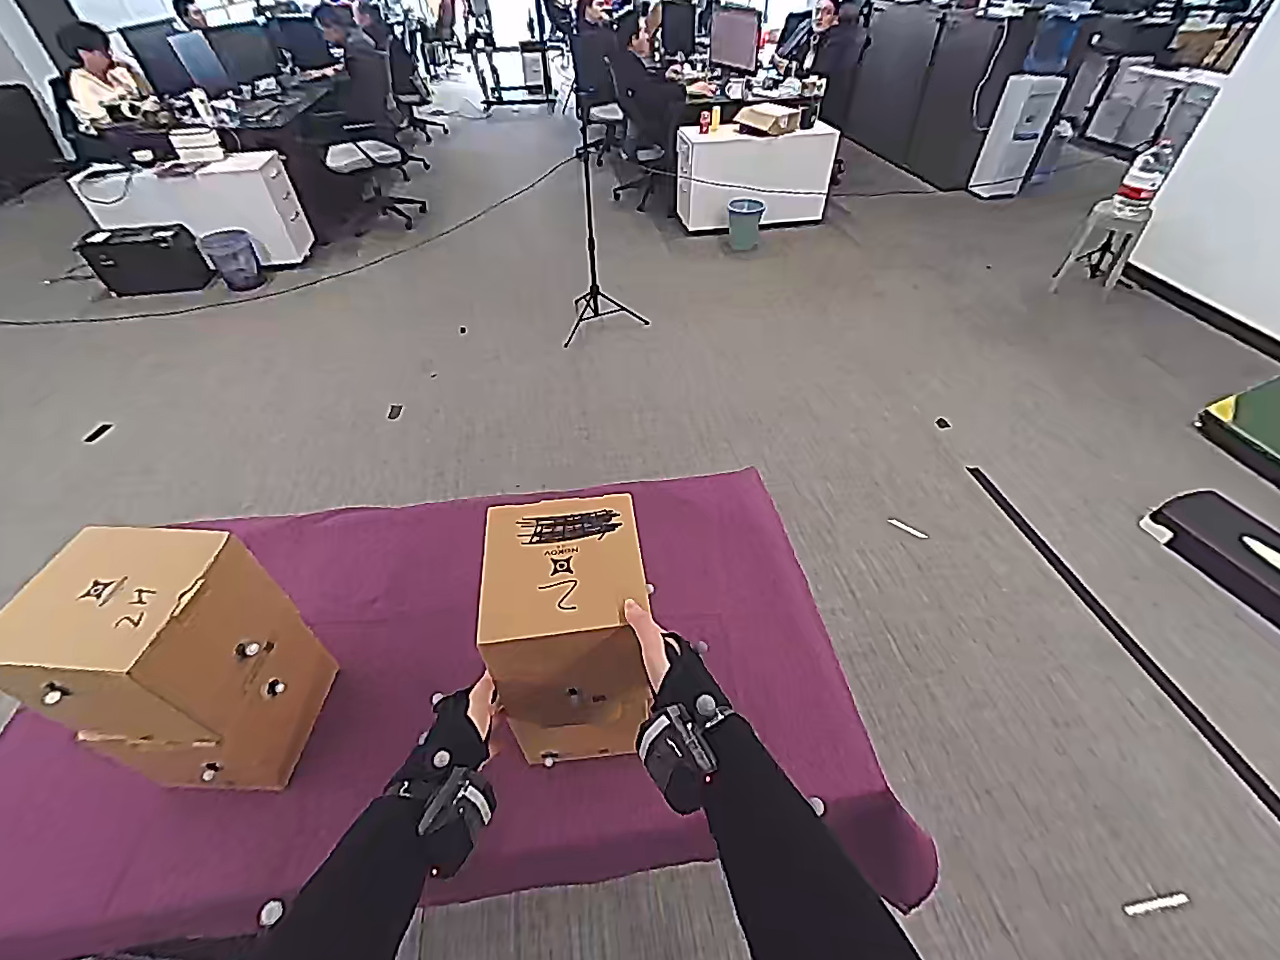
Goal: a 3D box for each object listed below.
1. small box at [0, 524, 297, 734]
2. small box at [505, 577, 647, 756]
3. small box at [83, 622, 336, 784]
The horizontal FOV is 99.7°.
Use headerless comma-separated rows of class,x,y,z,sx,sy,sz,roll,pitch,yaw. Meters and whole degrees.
small box,-0.538,0.168,0.606,0.179,0.176,0.168,3,46,2
small box,-0.079,0.258,0.738,0.168,0.176,0.179,-4,44,-3
small box,-0.543,0.286,0.720,0.168,0.176,0.179,2,44,2
